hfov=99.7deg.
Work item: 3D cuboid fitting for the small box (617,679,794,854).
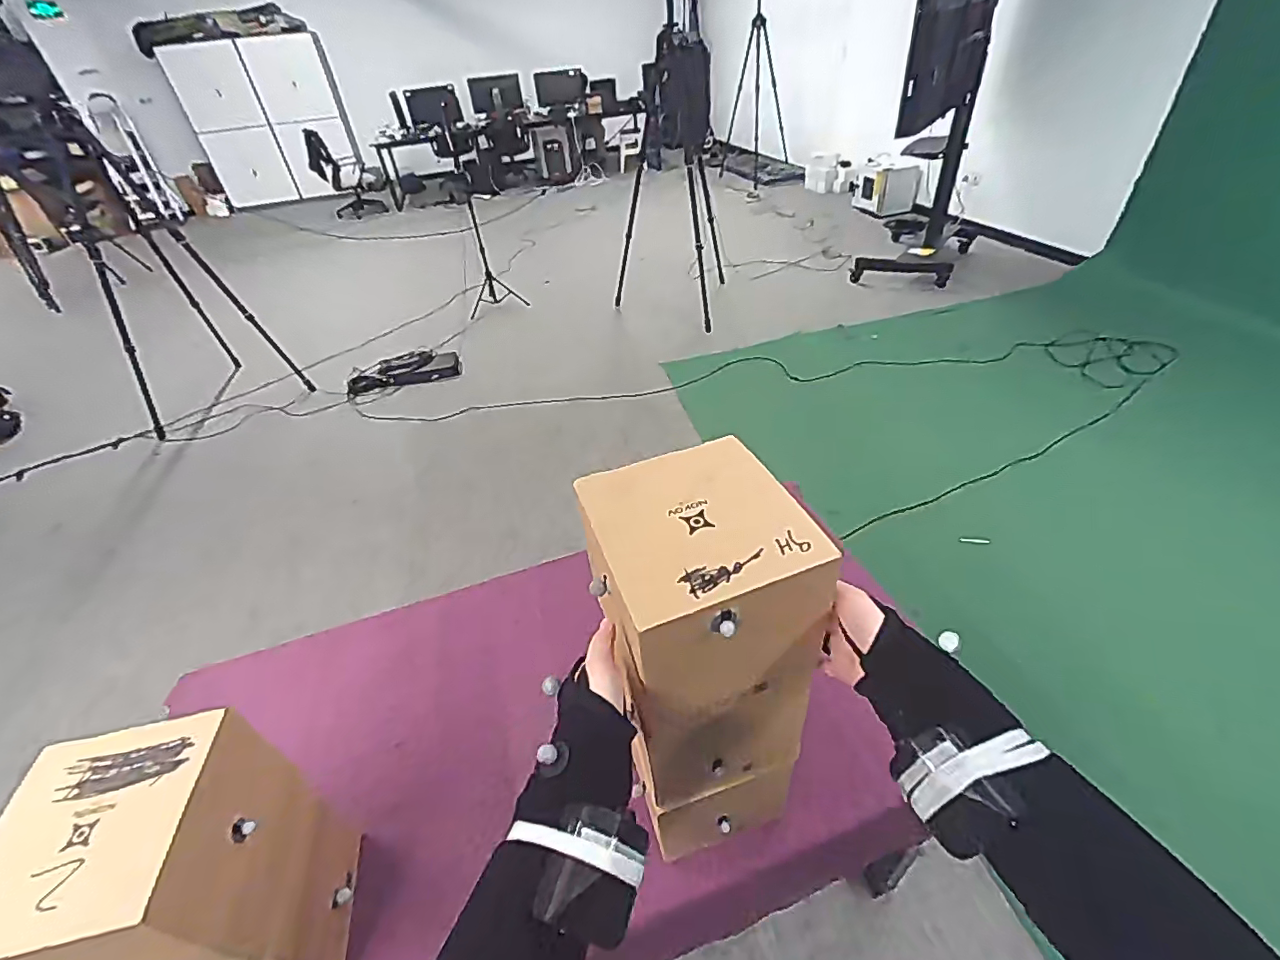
[{"bbox_3d":[0.079,0.349,0.698,0.168,0.176,0.179,-15,40,-10],"label":"small box"}]

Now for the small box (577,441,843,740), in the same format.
[{"bbox_3d":[0.053,0.095,0.493,0.168,0.176,0.179,-18,41,-12],"label":"small box"}]

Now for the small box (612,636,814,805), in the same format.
[{"bbox_3d":[0.067,0.218,0.601,0.168,0.176,0.179,-15,41,-10],"label":"small box"}]
